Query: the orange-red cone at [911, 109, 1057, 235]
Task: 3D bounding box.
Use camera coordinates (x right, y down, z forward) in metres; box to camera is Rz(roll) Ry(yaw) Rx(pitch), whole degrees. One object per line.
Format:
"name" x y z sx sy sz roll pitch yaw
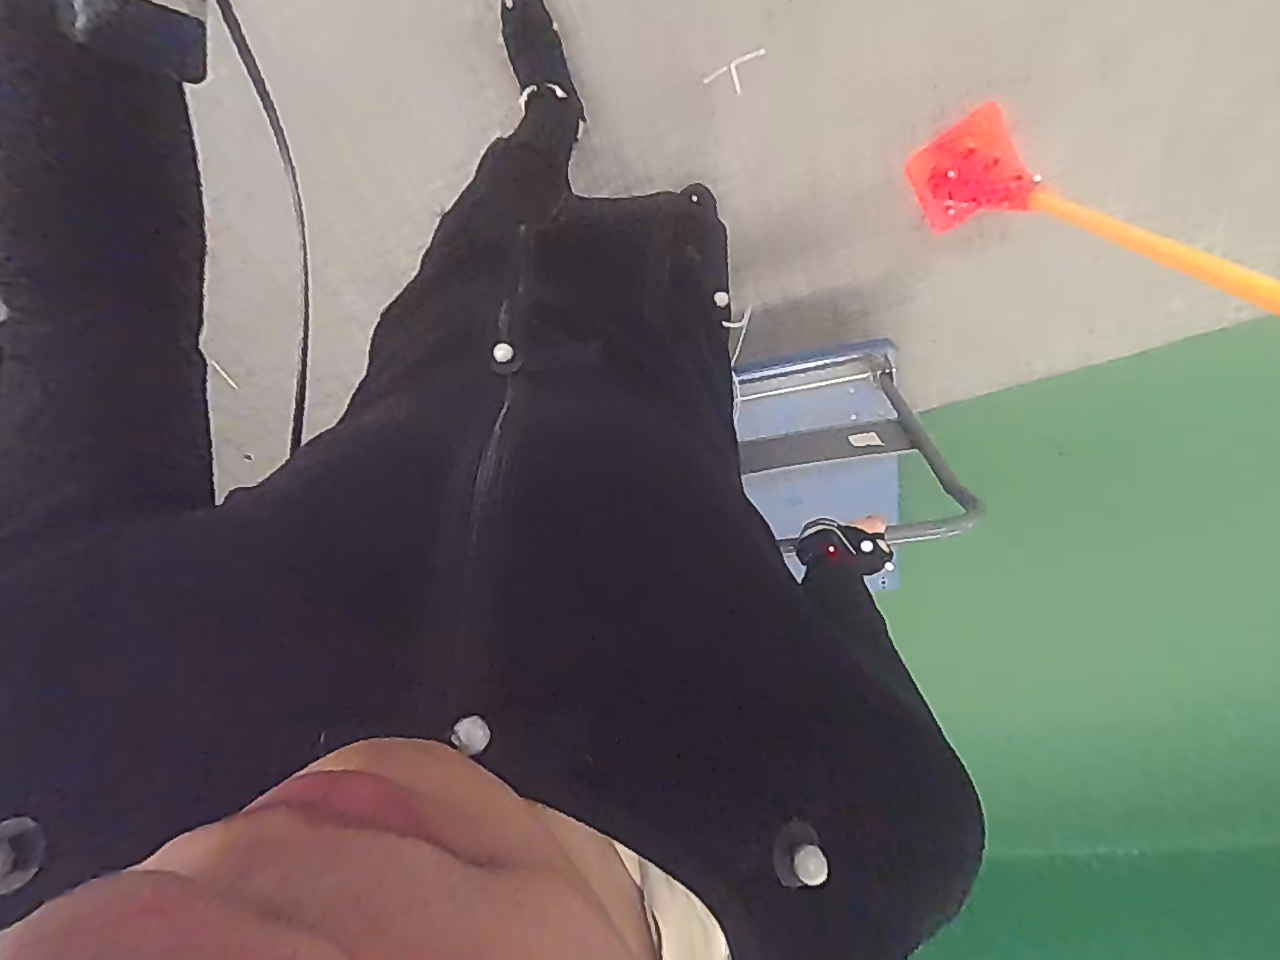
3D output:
"orange-red cone" 0.722 -0.587 1.082 0.199 0.360 0.198 -30 119 24
